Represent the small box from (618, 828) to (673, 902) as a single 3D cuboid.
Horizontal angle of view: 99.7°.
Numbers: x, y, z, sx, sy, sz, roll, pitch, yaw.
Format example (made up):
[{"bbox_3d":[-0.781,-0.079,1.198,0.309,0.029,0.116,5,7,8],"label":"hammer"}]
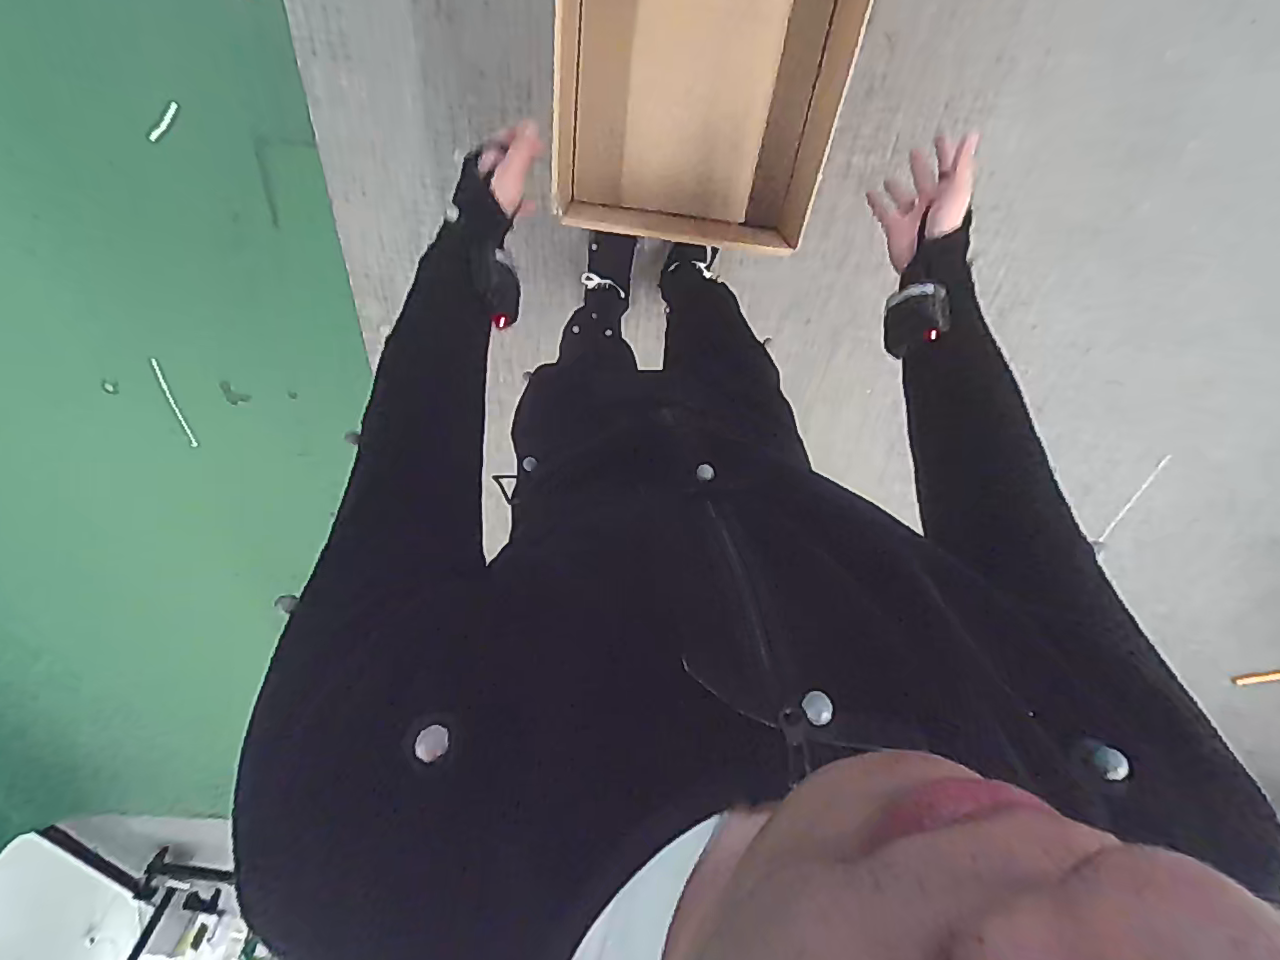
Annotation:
[{"bbox_3d":[0.020,1.302,1.831,0.179,0.176,0.168,-1,129,1],"label":"small box"}]
